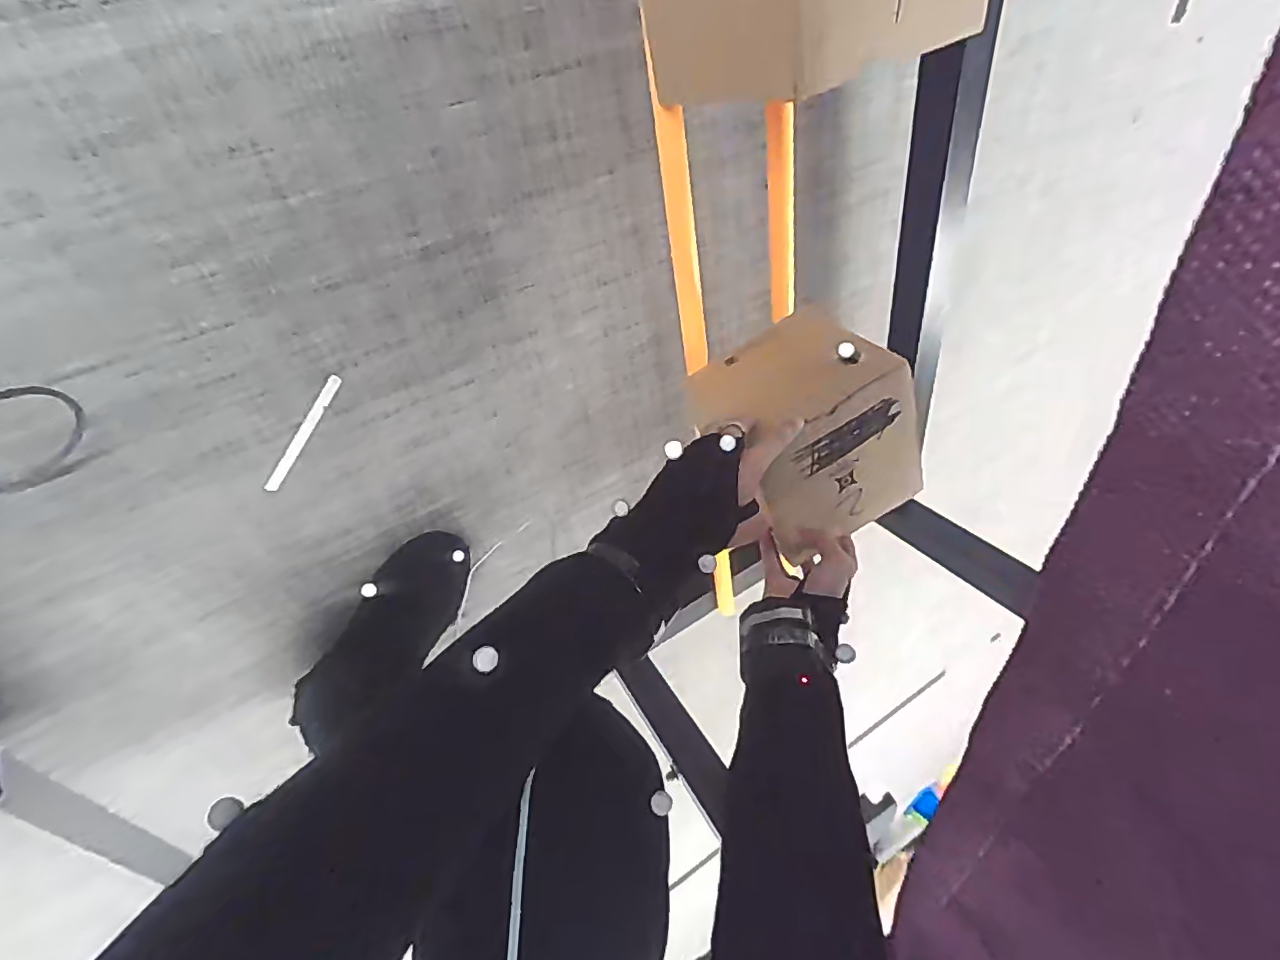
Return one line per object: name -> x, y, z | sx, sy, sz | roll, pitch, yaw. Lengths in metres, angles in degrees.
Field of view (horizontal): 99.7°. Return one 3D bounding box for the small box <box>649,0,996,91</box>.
small box -> 0.107, -0.369, 0.340 | 0.168, 0.176, 0.179 | -29, 133, -14
